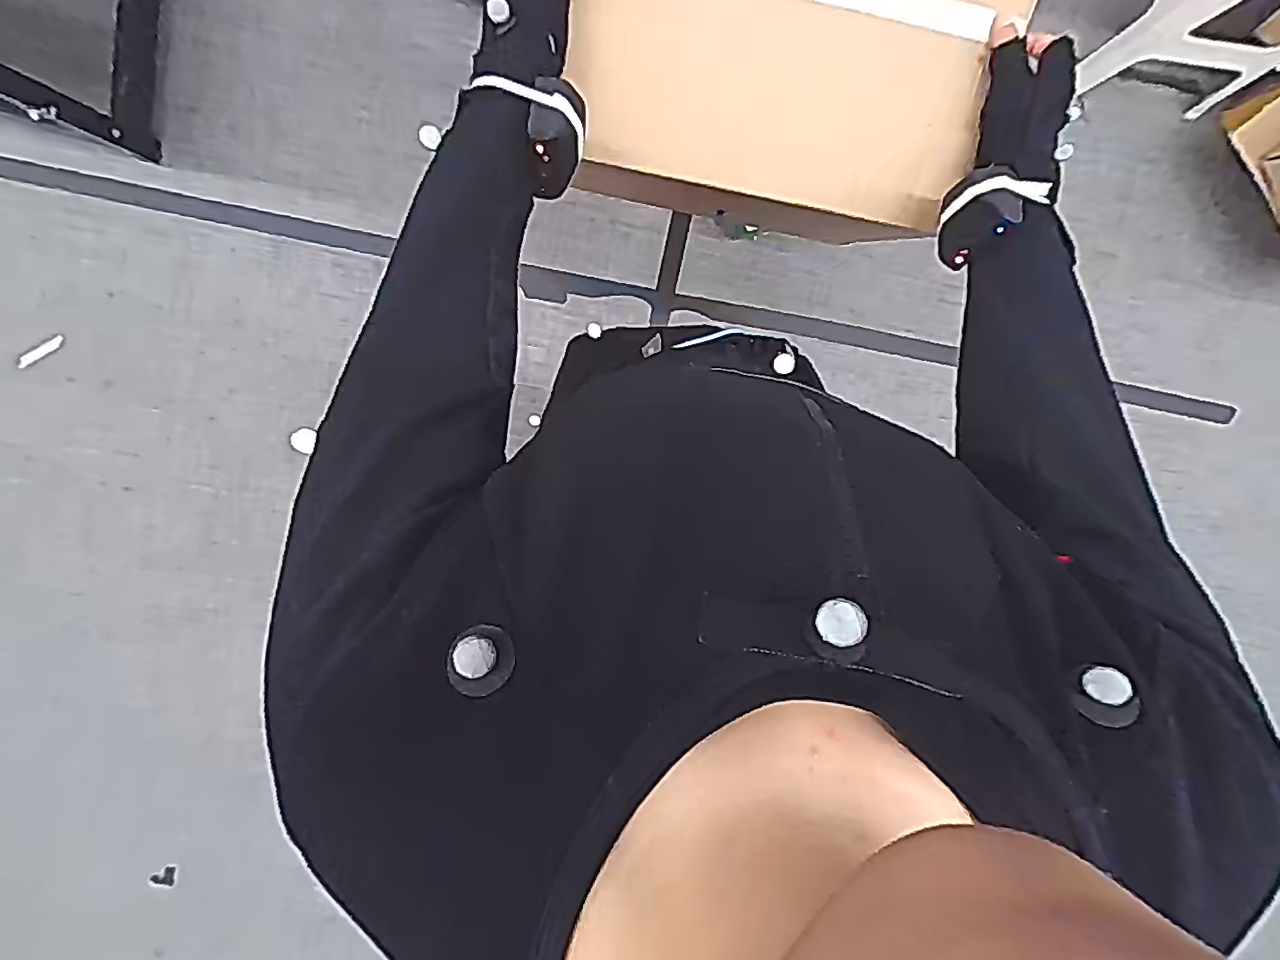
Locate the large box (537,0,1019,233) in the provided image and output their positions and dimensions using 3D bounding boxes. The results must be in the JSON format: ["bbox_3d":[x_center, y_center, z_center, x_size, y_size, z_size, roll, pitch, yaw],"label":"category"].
[{"bbox_3d":[0.124,-0.473,0.596,0.408,0.320,0.320,10,111,-5],"label":"large box"}]
